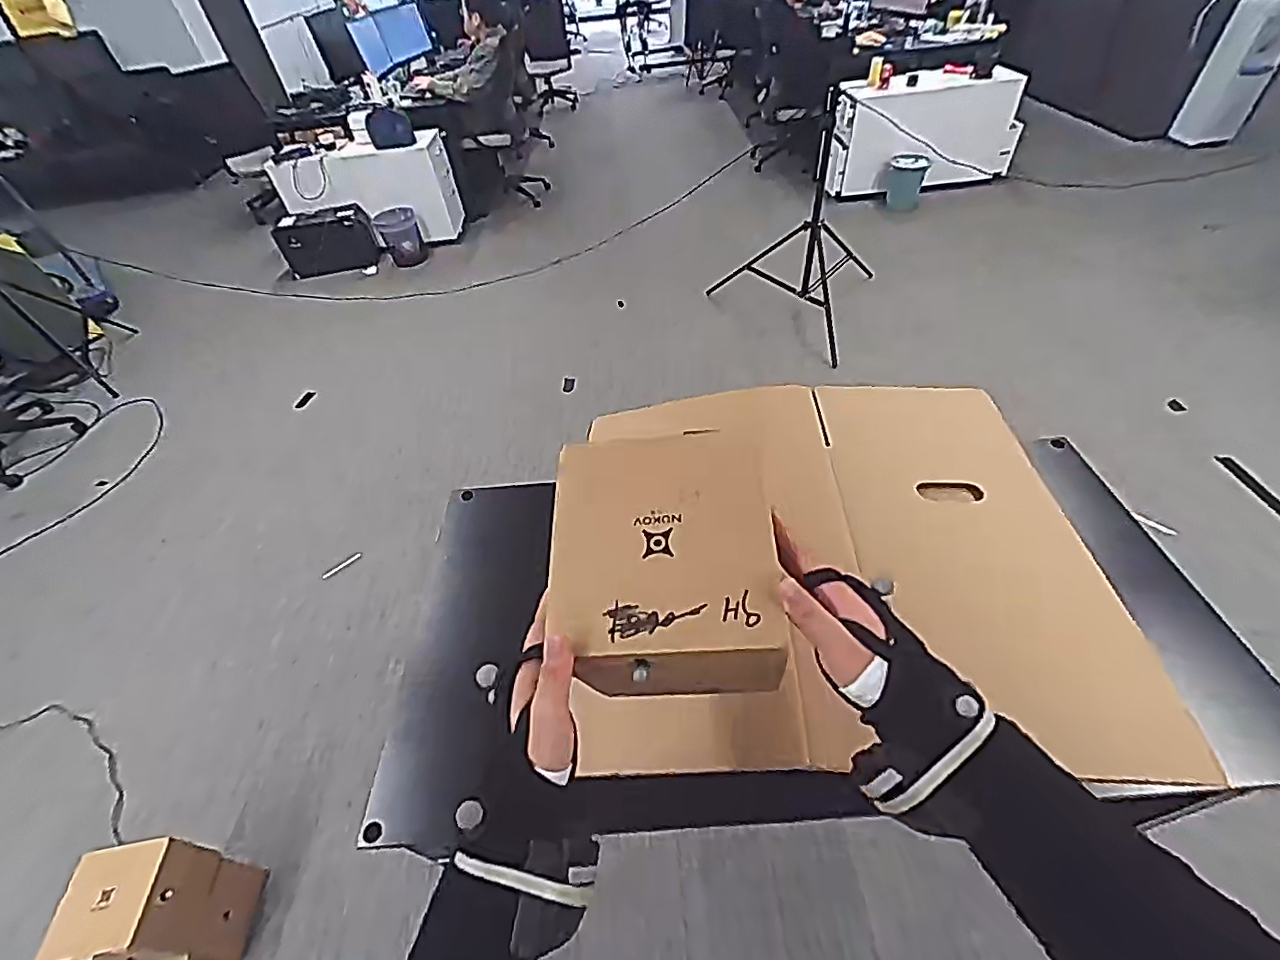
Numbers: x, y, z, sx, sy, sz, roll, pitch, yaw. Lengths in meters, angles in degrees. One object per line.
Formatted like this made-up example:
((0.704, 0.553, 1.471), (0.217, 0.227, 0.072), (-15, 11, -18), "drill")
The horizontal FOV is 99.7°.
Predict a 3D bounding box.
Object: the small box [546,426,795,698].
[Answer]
((0.031, 0.078, 0.459), (0.168, 0.176, 0.179), (-5, 59, 9), "small box")

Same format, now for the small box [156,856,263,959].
((-0.967, 0.947, 1.175), (0.168, 0.176, 0.179), (-8, 47, -1), "small box")

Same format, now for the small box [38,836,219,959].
((-0.982, 0.831, 1.061), (0.168, 0.176, 0.179), (-9, 45, -3), "small box")
